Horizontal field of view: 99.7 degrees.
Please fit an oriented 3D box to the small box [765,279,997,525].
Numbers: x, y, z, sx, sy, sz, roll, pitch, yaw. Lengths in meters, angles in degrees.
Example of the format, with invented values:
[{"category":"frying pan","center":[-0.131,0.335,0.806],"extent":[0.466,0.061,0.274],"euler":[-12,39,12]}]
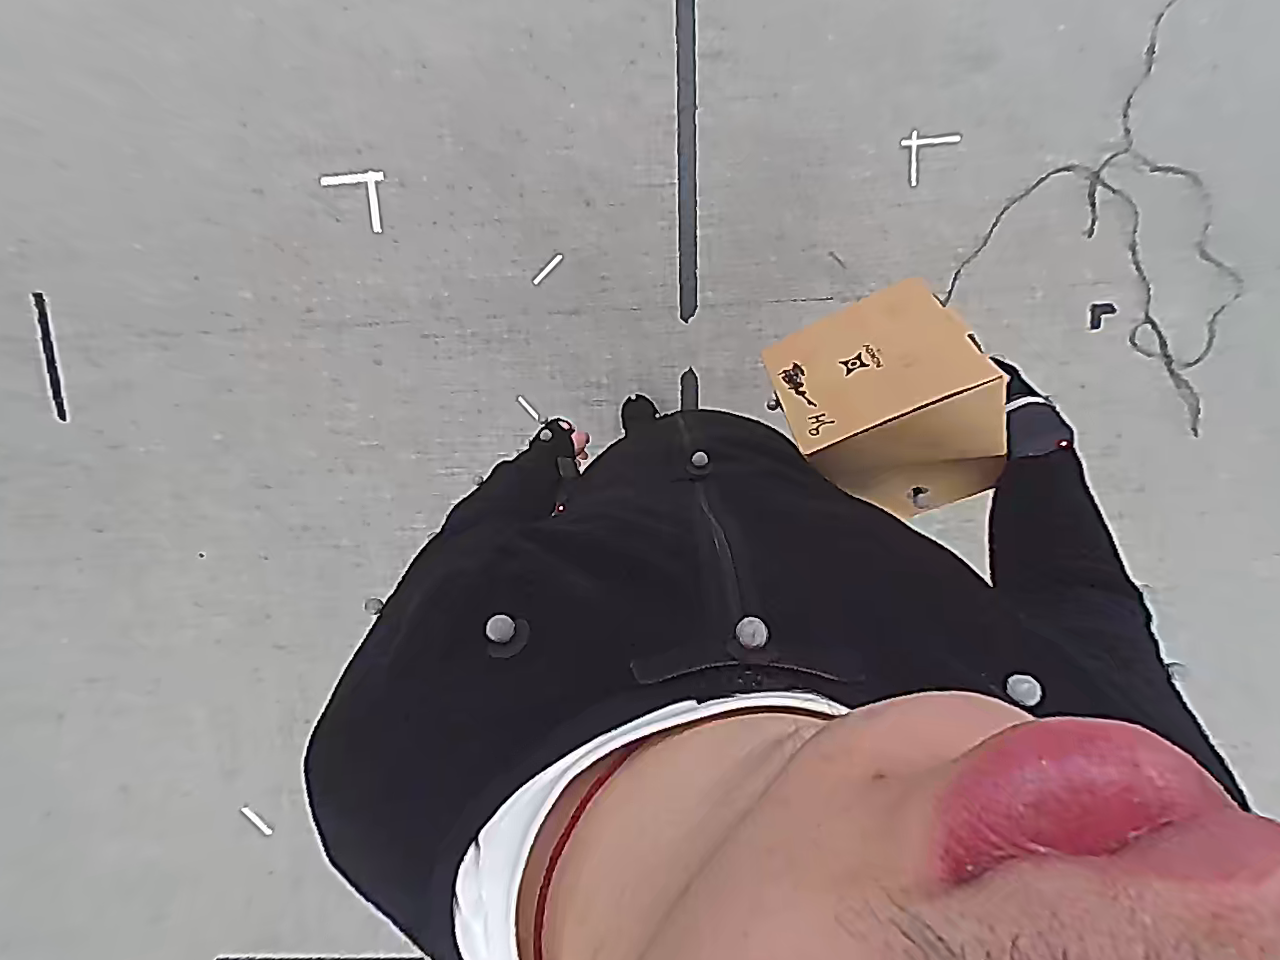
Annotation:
[{"category":"small box","center":[0.262,-0.078,0.598],"extent":[0.179,0.168,0.176],"euler":[-23,136,18]}]
